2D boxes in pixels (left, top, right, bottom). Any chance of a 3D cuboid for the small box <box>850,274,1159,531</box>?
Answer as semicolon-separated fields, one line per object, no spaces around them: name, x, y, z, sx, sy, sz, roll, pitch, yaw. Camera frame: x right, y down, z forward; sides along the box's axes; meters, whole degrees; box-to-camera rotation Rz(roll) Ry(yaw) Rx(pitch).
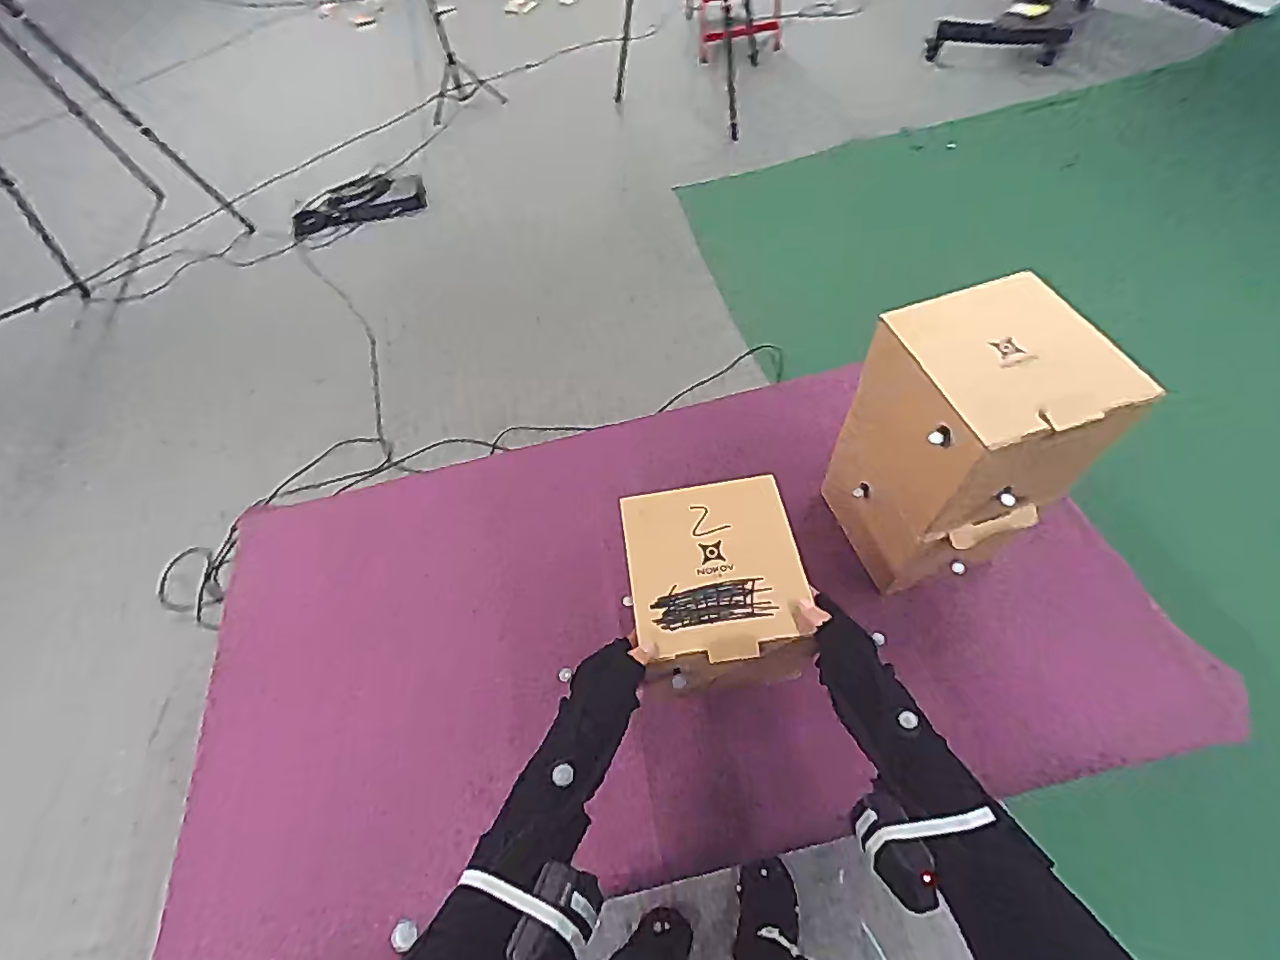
small box;0.345;-0.075;0.561;0.168;0.176;0.179;-17;58;-4

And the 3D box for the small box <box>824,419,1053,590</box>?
small box;0.359;0.015;0.696;0.168;0.176;0.179;-18;58;-4
